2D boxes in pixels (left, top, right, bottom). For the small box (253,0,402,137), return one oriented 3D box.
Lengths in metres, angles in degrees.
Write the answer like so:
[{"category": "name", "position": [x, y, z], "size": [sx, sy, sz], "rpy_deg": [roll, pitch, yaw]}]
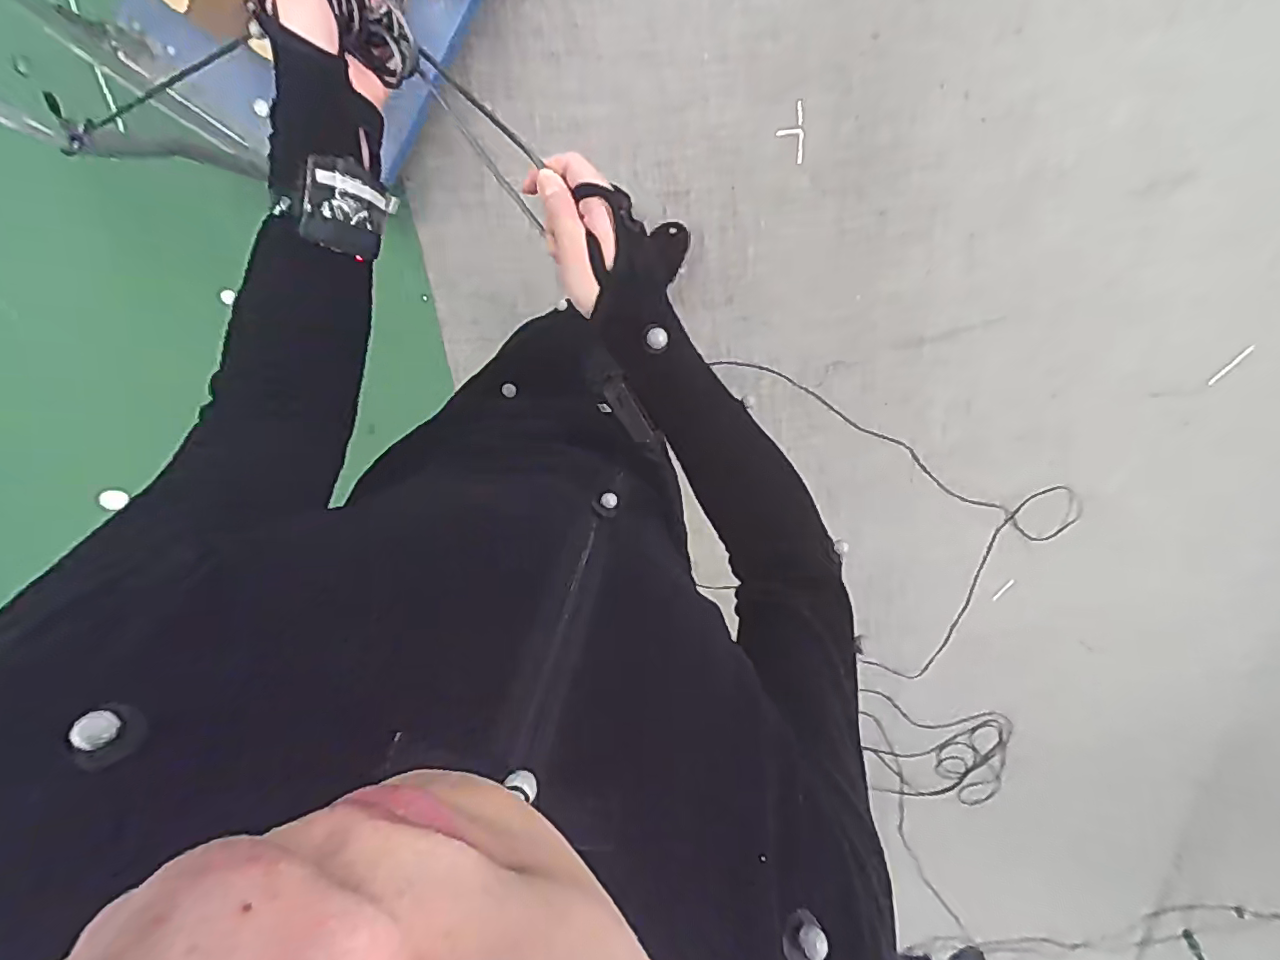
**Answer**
[{"category": "small box", "position": [-0.595, -0.816, 1.056], "size": [0.168, 0.176, 0.179], "rpy_deg": [35, 109, -13]}]
